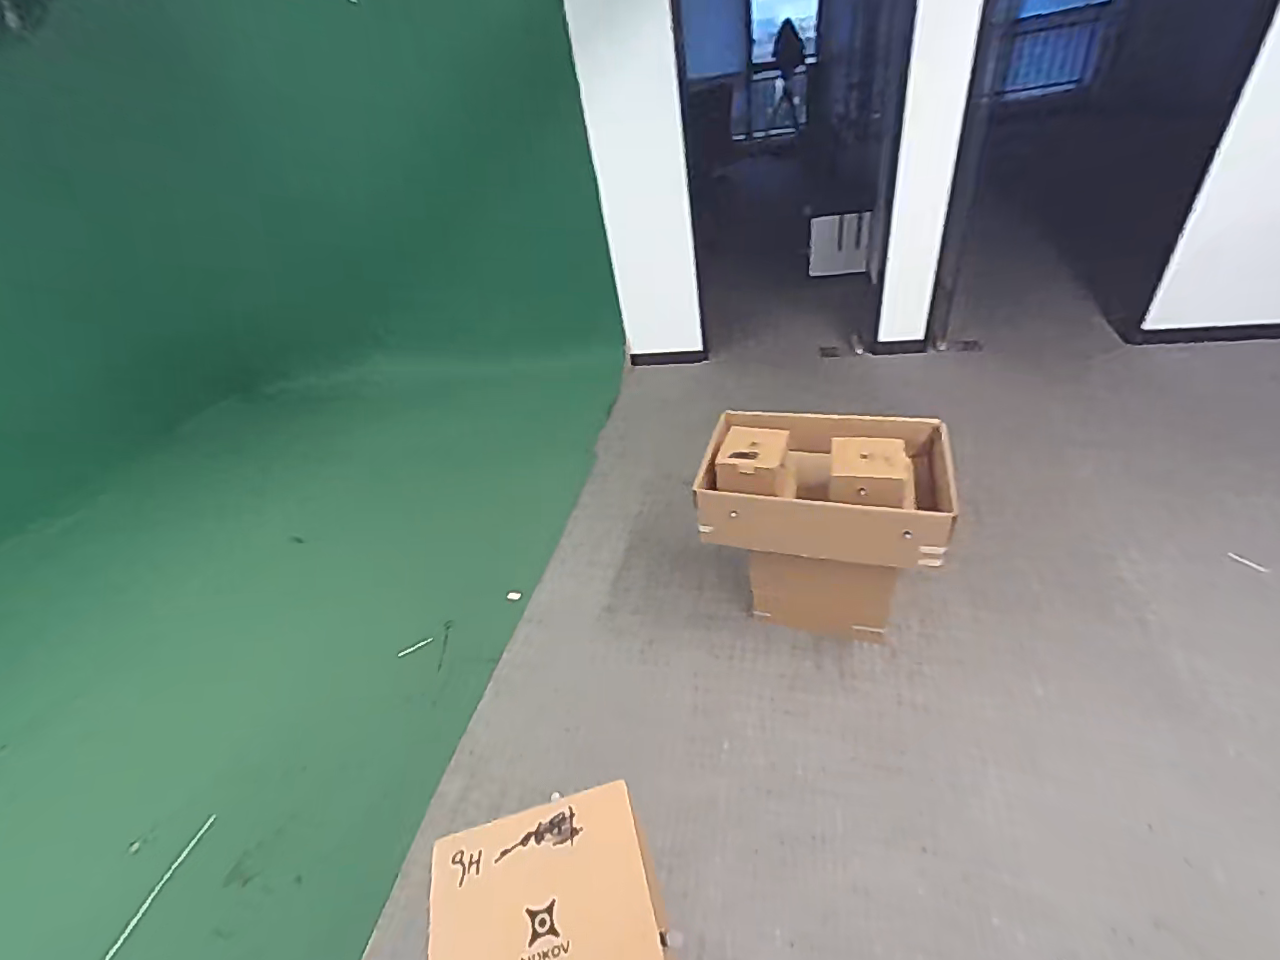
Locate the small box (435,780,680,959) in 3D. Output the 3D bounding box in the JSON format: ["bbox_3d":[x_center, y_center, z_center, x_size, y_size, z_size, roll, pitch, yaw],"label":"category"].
[{"bbox_3d":[-0.057,0.387,0.446,0.168,0.176,0.179,-14,43,-6],"label":"small box"}]
